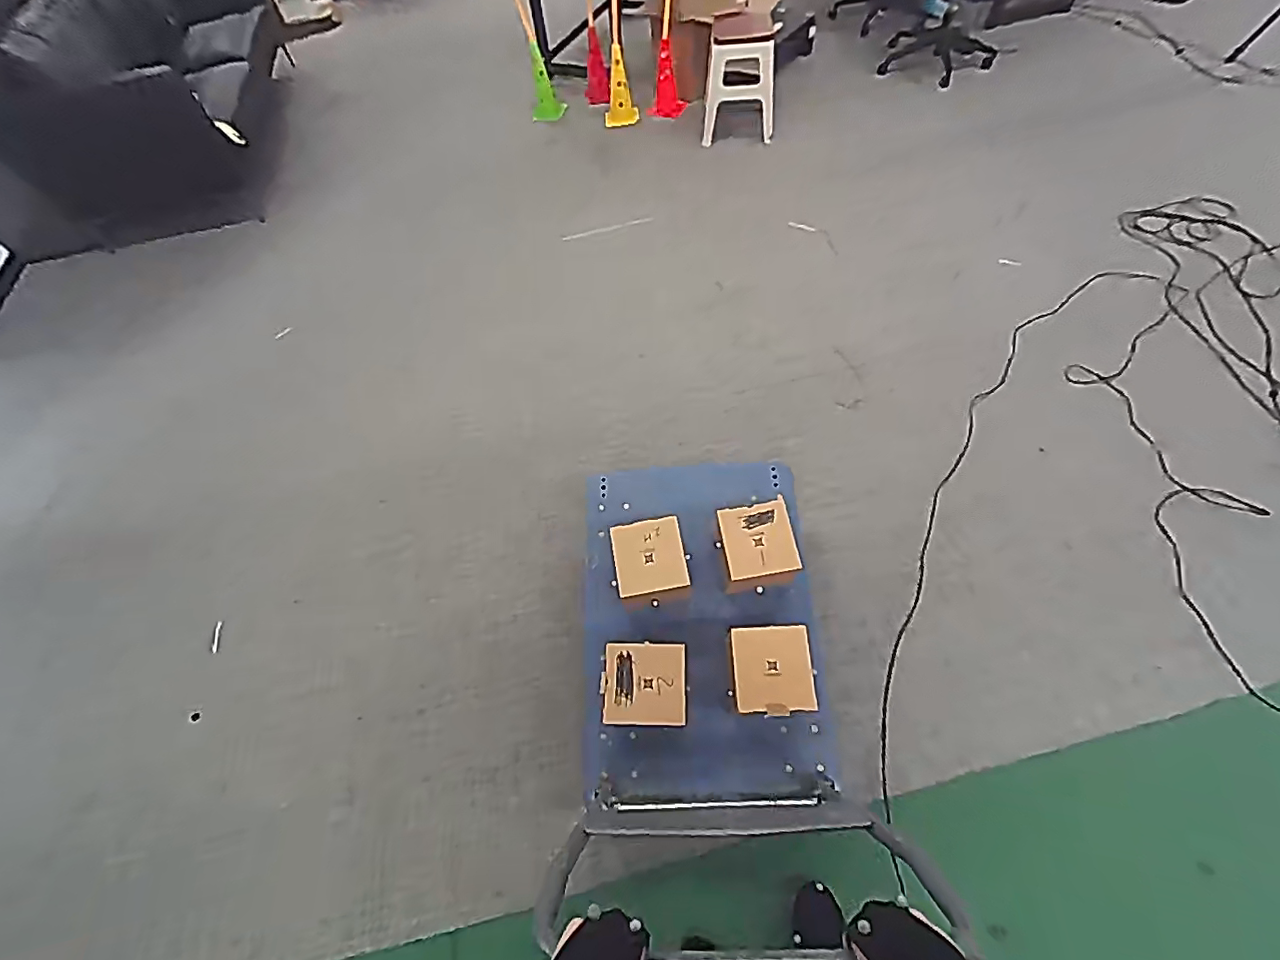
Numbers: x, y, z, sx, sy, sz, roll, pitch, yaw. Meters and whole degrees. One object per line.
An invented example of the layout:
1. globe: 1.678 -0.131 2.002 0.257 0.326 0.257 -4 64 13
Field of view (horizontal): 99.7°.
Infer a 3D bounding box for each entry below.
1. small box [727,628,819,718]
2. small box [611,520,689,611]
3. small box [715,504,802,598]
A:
1. small box: 0.291 0.441 1.224 0.168 0.176 0.179 -3 66 3
2. small box: 0.028 0.220 1.342 0.168 0.176 0.179 -10 65 -1
3. small box: 0.284 0.179 1.340 0.168 0.176 0.179 -10 66 1
